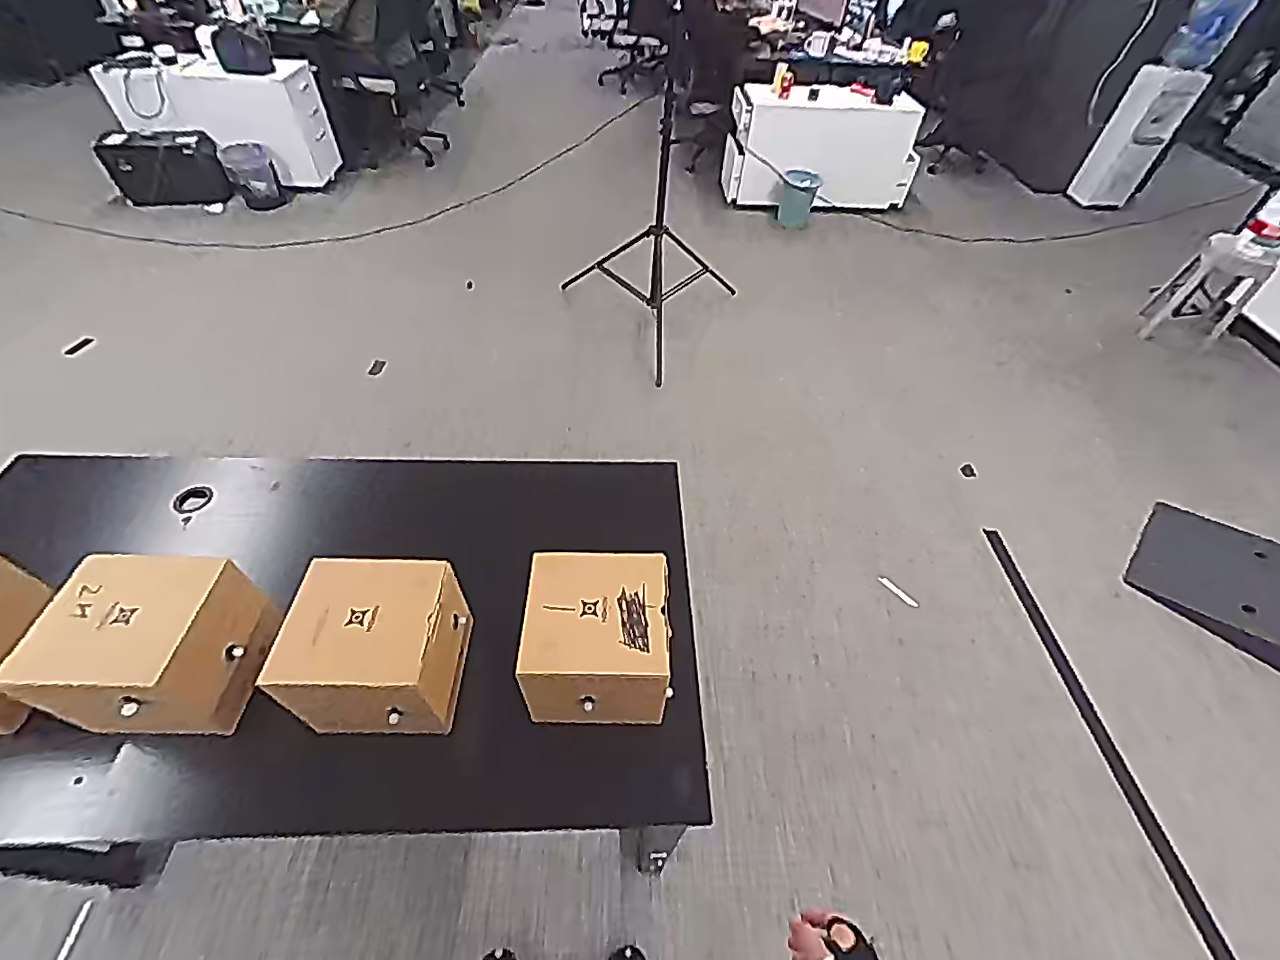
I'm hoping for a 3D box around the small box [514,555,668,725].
[{"bbox_3d":[-0.057,0.216,0.722,0.179,0.176,0.168,1,48,0],"label":"small box"}]

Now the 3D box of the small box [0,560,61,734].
[{"bbox_3d":[-0.881,0.216,0.678,0.179,0.176,0.168,-1,49,-4],"label":"small box"}]

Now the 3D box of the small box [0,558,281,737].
[{"bbox_3d":[-0.608,0.217,0.691,0.179,0.176,0.168,1,48,-2],"label":"small box"}]

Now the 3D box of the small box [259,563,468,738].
[{"bbox_3d":[-0.335,0.224,0.704,0.179,0.176,0.168,0,47,-3],"label":"small box"}]
